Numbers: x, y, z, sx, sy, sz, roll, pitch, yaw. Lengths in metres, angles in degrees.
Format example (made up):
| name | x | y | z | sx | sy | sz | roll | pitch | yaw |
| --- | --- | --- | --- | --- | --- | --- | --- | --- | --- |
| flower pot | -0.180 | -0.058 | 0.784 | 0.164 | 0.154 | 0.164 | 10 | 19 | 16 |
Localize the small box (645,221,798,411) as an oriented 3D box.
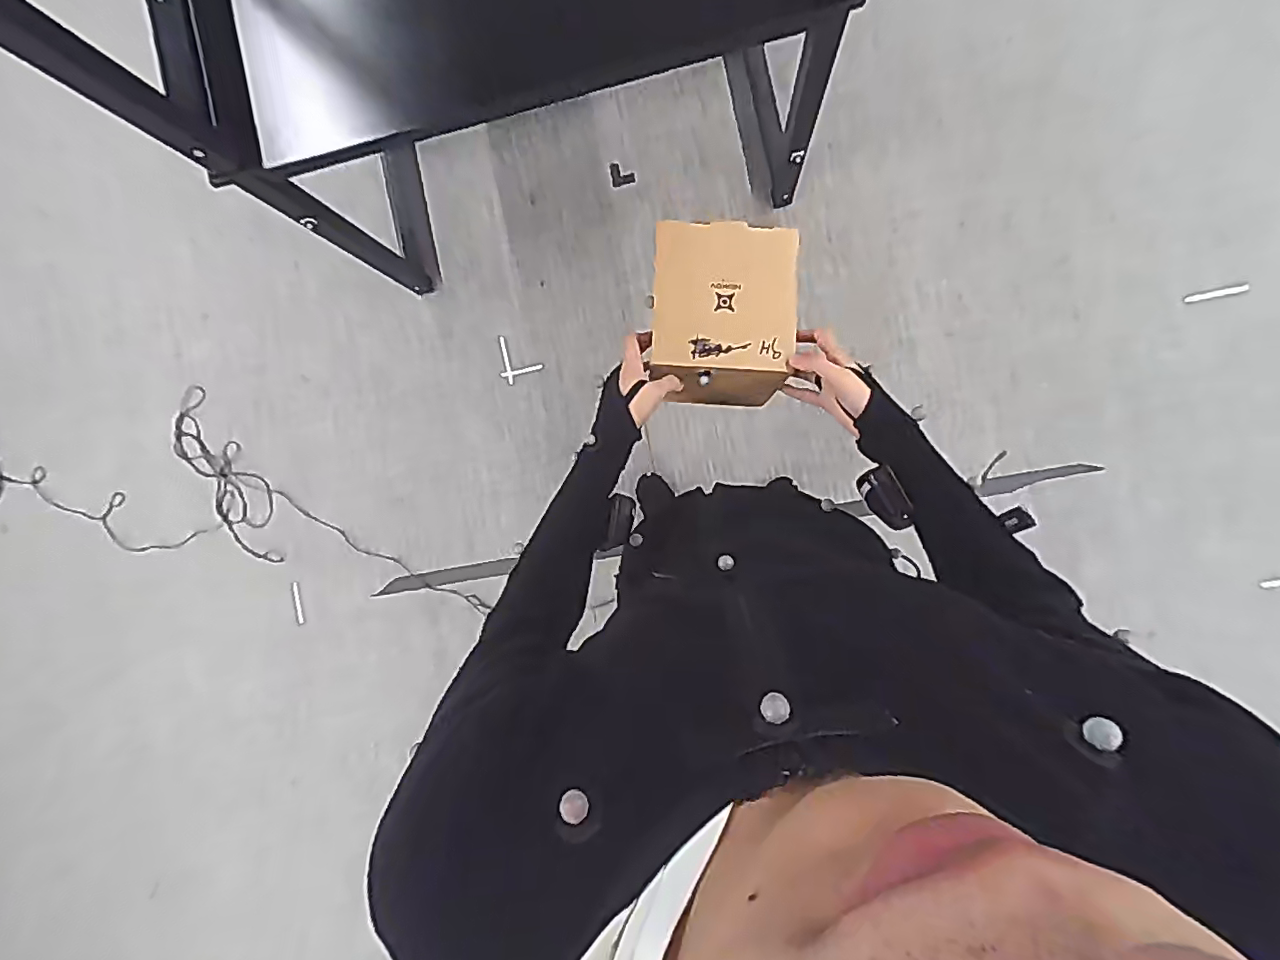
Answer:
| name | x | y | z | sx | sy | sz | roll | pitch | yaw |
| --- | --- | --- | --- | --- | --- | --- | --- | --- | --- |
| small box | 0.095 | -0.200 | 0.698 | 0.168 | 0.176 | 0.179 | 5 | 84 | 1 |
